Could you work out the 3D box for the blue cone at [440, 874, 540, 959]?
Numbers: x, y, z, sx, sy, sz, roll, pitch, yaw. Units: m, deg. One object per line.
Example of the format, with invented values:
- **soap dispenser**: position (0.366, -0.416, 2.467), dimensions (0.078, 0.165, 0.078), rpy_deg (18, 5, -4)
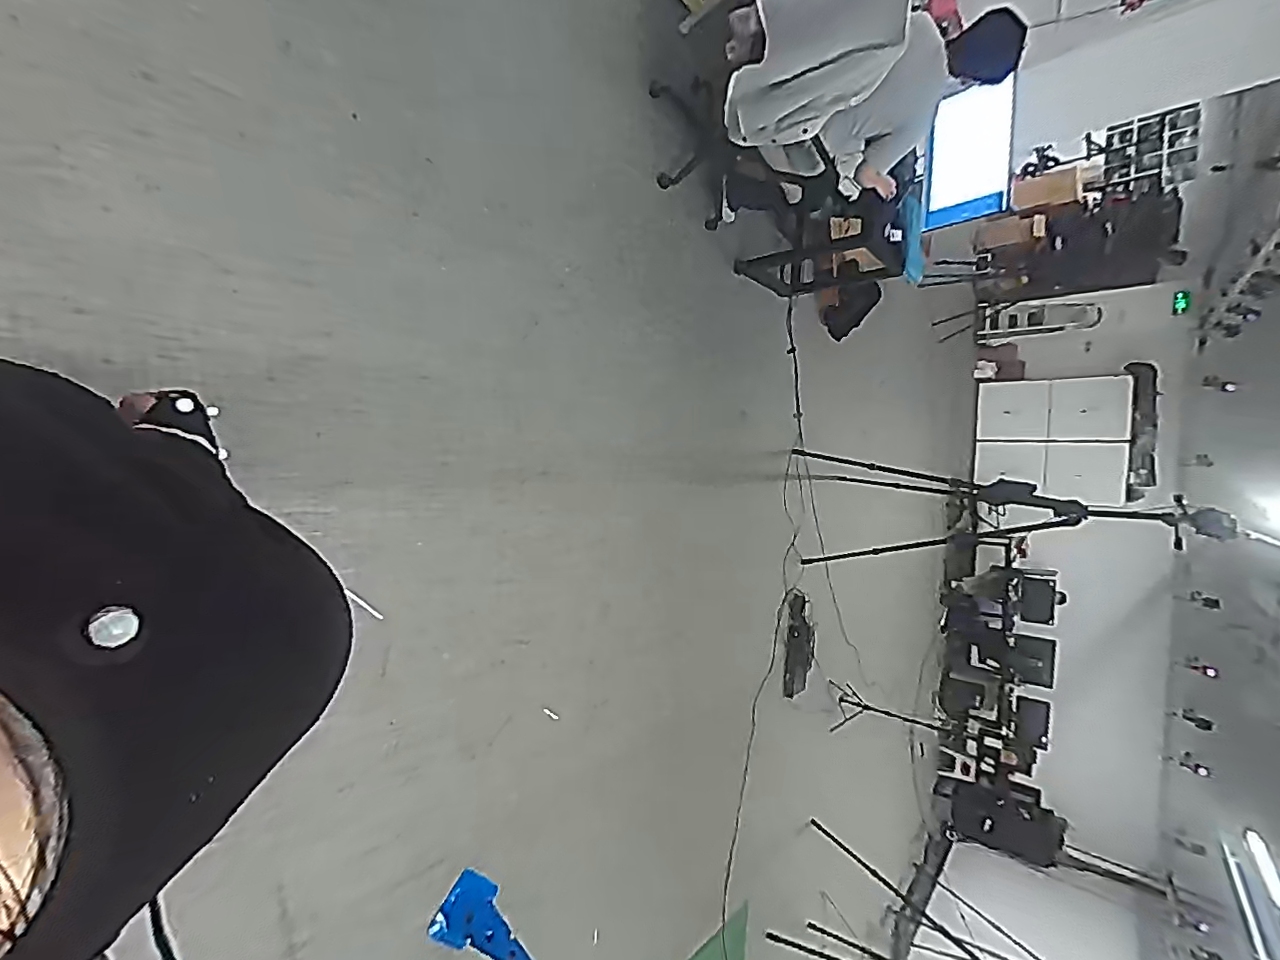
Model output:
- **blue cone**: position (-0.438, 1.438, 1.699), dimensions (0.193, 0.380, 0.192), rpy_deg (-56, 130, -33)
